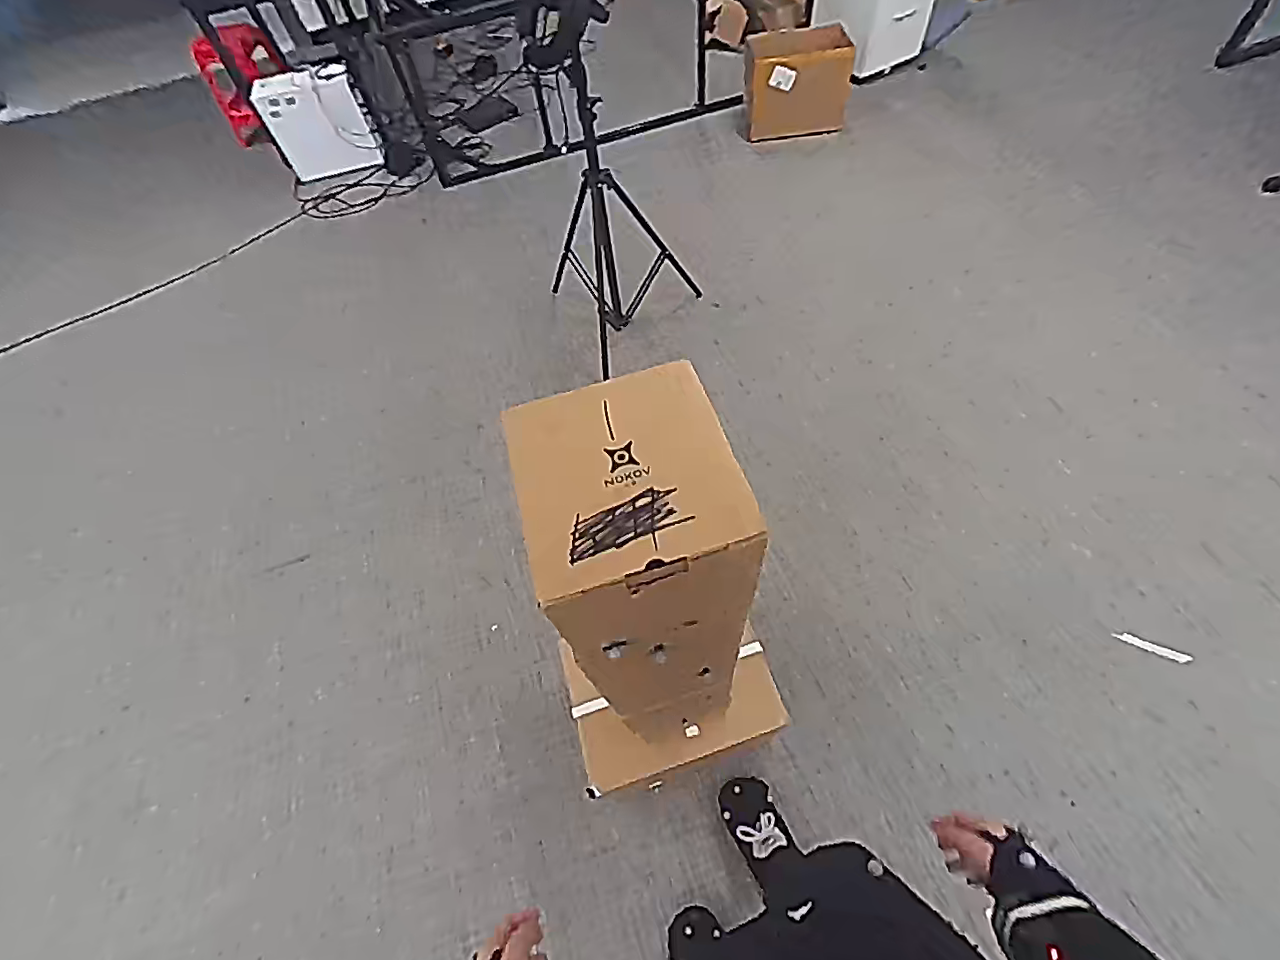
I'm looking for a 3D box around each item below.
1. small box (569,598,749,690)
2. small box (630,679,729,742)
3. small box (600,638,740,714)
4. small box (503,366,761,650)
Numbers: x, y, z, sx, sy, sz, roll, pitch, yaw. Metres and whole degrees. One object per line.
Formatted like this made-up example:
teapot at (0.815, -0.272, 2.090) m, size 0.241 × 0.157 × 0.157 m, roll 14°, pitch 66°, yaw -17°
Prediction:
small box at (0.007, 0.123, 0.617) m, size 0.179 × 0.176 × 0.168 m, roll -16°, pitch 59°, yaw -4°
small box at (0.057, 0.381, 1.031) m, size 0.179 × 0.176 × 0.168 m, roll -19°, pitch 59°, yaw -7°
small box at (0.023, 0.208, 0.753) m, size 0.179 × 0.176 × 0.168 m, roll -17°, pitch 58°, yaw -4°
small box at (-0.006, 0.036, 0.478) m, size 0.168 × 0.176 × 0.179 m, roll -17°, pitch 58°, yaw -4°
